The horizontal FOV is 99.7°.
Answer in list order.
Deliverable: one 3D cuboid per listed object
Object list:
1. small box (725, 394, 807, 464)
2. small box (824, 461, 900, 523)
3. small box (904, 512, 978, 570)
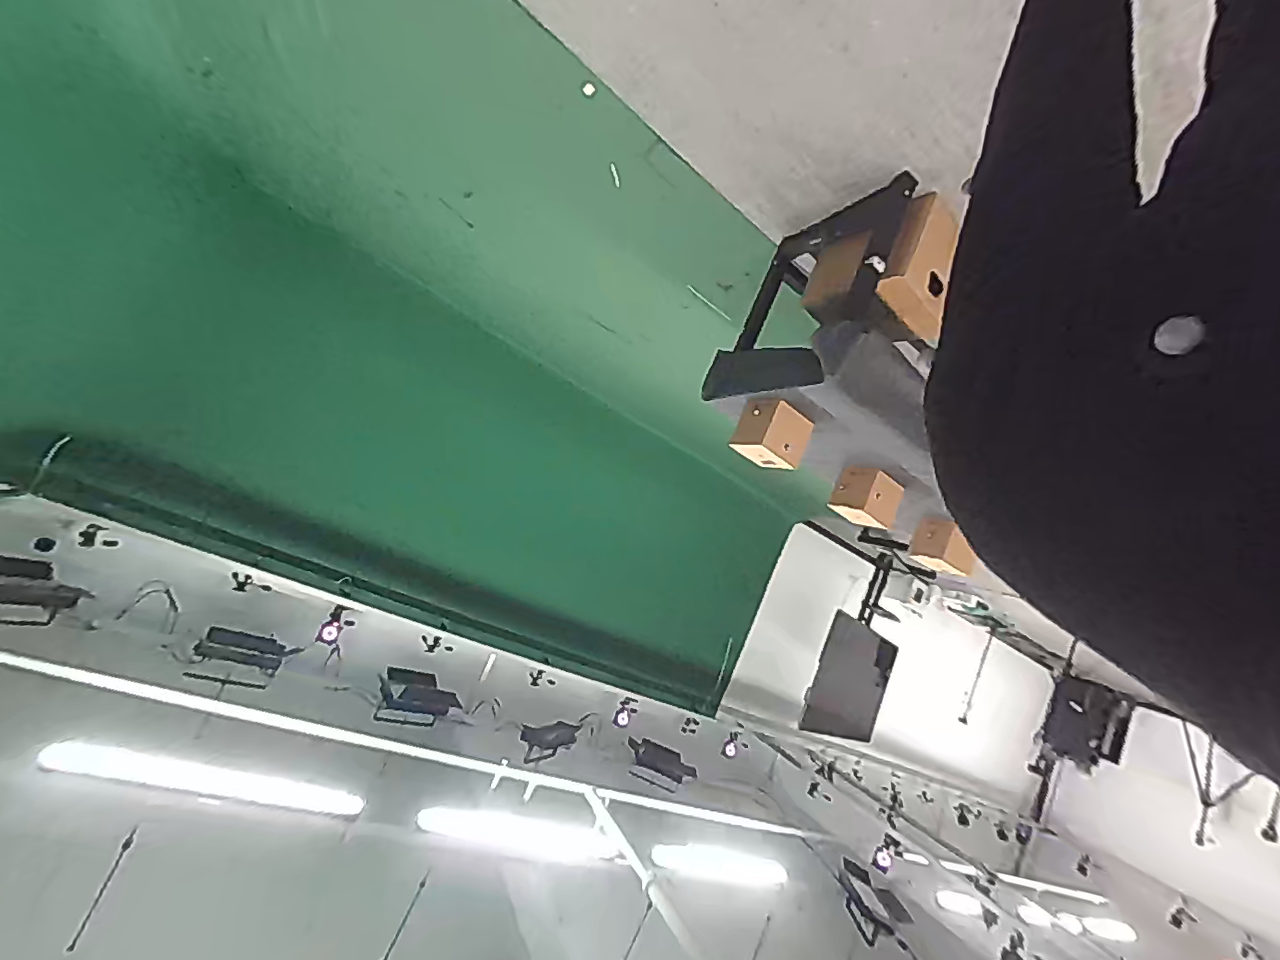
[{"bbox_3d":[0.421,-0.170,1.791,0.179,0.176,0.168,29,170,-29],"label":"small box"},{"bbox_3d":[0.824,0.039,2.004,0.179,0.176,0.168,27,172,-28],"label":"small box"},{"bbox_3d":[1.207,0.240,2.167,0.179,0.176,0.168,28,171,-20],"label":"small box"}]
